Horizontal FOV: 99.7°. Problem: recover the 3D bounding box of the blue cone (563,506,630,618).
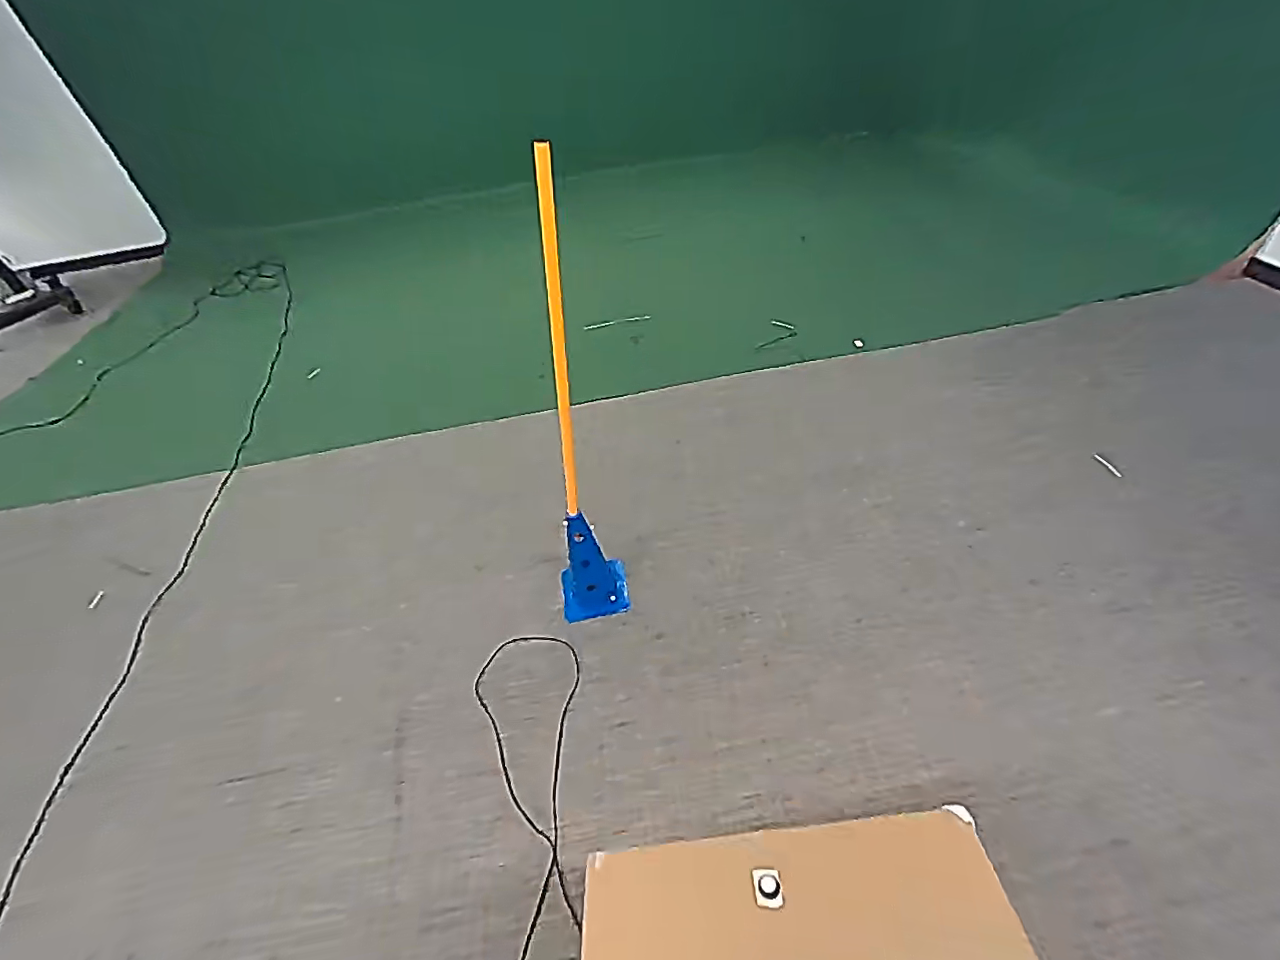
[{"bbox_3d":[-0.151,0.206,1.535,0.193,0.380,0.192,-12,45,-5],"label":"blue cone"}]
